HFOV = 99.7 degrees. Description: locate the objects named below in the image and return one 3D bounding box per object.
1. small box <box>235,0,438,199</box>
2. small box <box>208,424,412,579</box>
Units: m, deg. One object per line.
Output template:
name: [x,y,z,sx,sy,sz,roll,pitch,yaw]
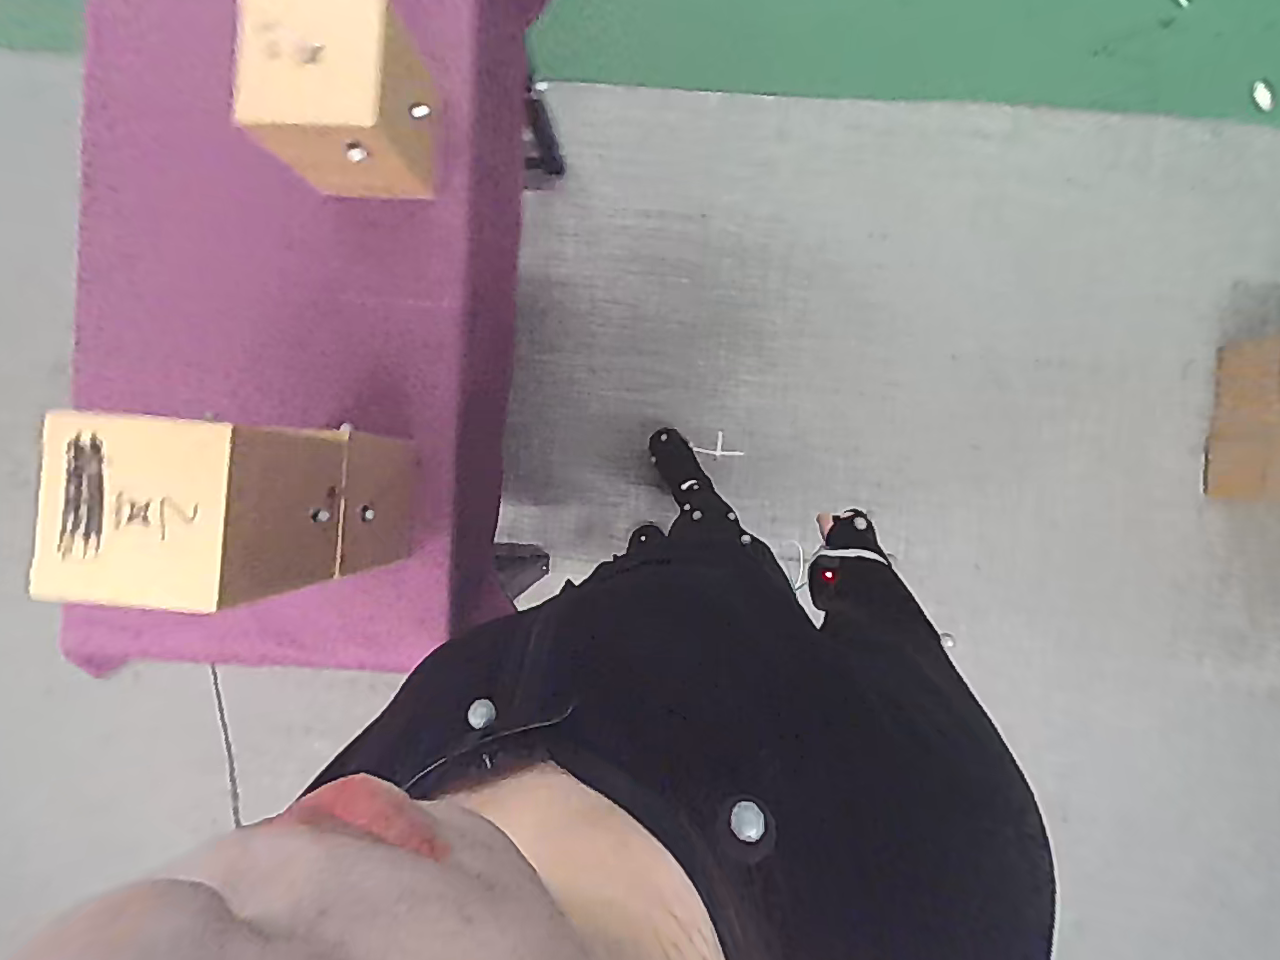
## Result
small box: [-0.388,-0.497,0.720,0.179,0.176,0.168,4,90,4]
small box: [-0.424,0.025,0.721,0.168,0.176,0.179,3,89,4]
